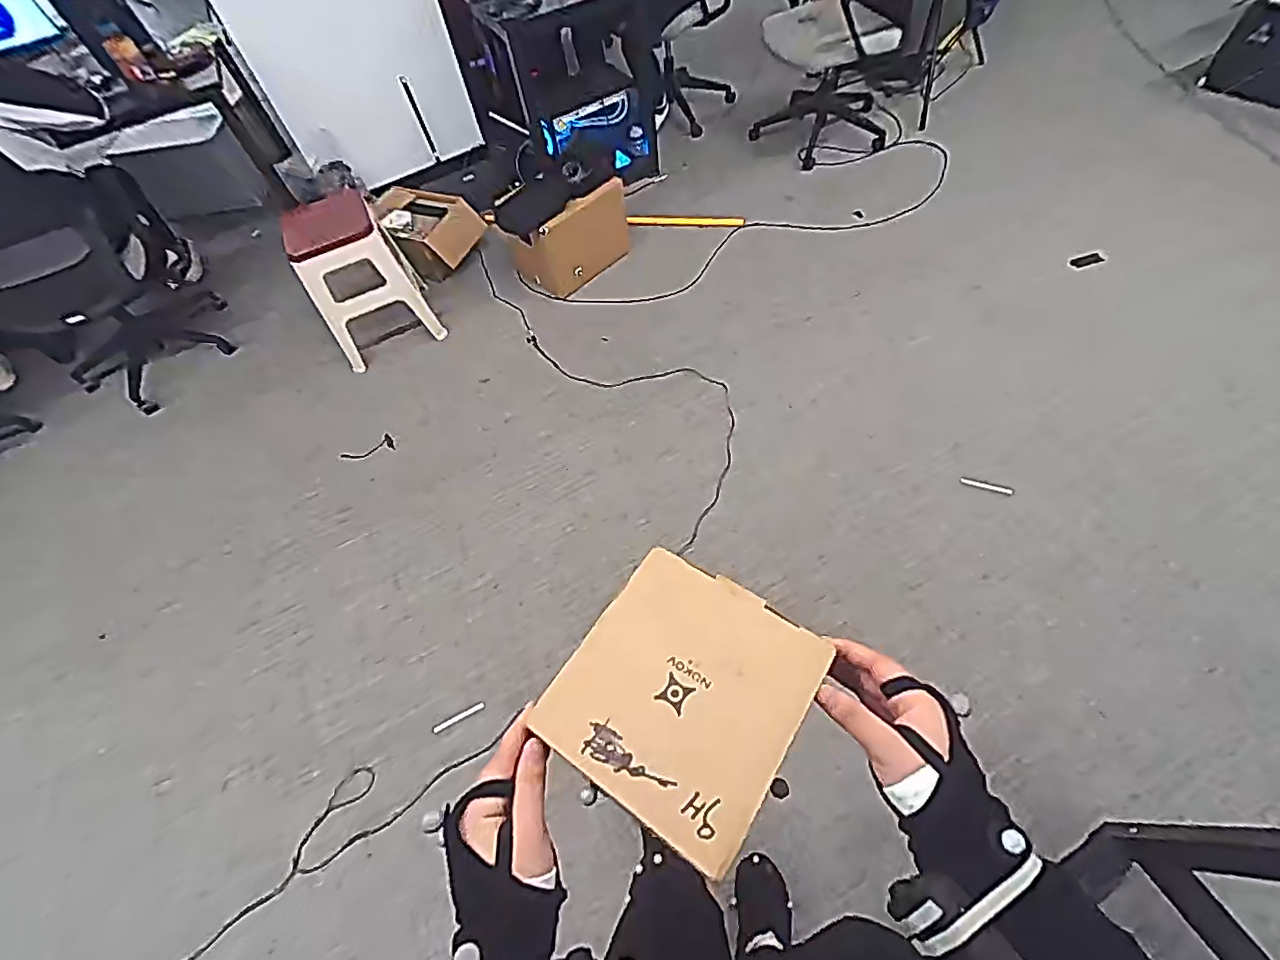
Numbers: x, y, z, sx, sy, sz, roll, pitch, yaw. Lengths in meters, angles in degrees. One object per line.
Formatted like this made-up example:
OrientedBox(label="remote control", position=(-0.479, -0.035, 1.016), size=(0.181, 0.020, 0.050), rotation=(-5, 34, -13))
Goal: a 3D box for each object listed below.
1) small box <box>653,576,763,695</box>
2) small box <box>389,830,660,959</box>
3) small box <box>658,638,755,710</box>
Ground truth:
OrientedBox(label="small box", position=(0.151, 0.353, 1.205), size=(0.179, 0.176, 0.168), rotation=(-32, 61, -14))
OrientedBox(label="small box", position=(-0.083, 0.386, 0.340), size=(0.176, 0.168, 0.179), rotation=(36, 111, 29))
OrientedBox(label="small box", position=(0.162, 0.441, 1.341), size=(0.179, 0.176, 0.168), rotation=(-31, 60, -11))
